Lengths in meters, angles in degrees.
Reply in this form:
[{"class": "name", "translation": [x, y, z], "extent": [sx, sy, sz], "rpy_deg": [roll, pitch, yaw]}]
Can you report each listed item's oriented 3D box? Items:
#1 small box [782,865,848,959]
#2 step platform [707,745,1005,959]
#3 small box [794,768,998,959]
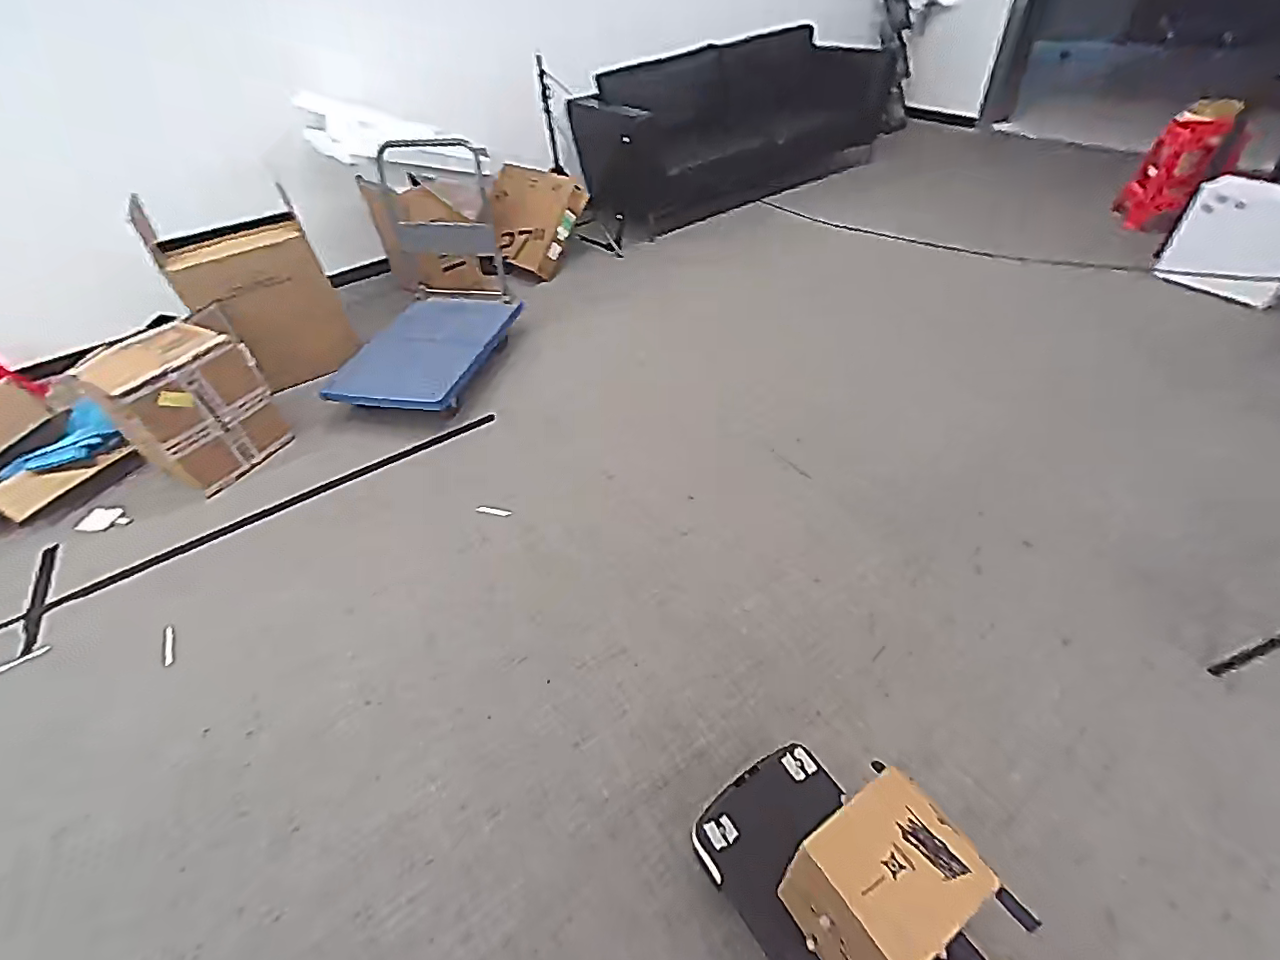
[{"class": "small box", "translation": [0.345, 0.665, 0.853], "extent": [0.179, 0.176, 0.168], "rpy_deg": [-26, 47, -19]}, {"class": "step platform", "translation": [0.419, 0.827, 0.926], "extent": [0.286, 0.204, 0.684], "rpy_deg": [-27, 47, -21]}, {"class": "small box", "translation": [0.334, 0.544, 0.742], "extent": [0.179, 0.176, 0.168], "rpy_deg": [-27, 47, -20]}]
